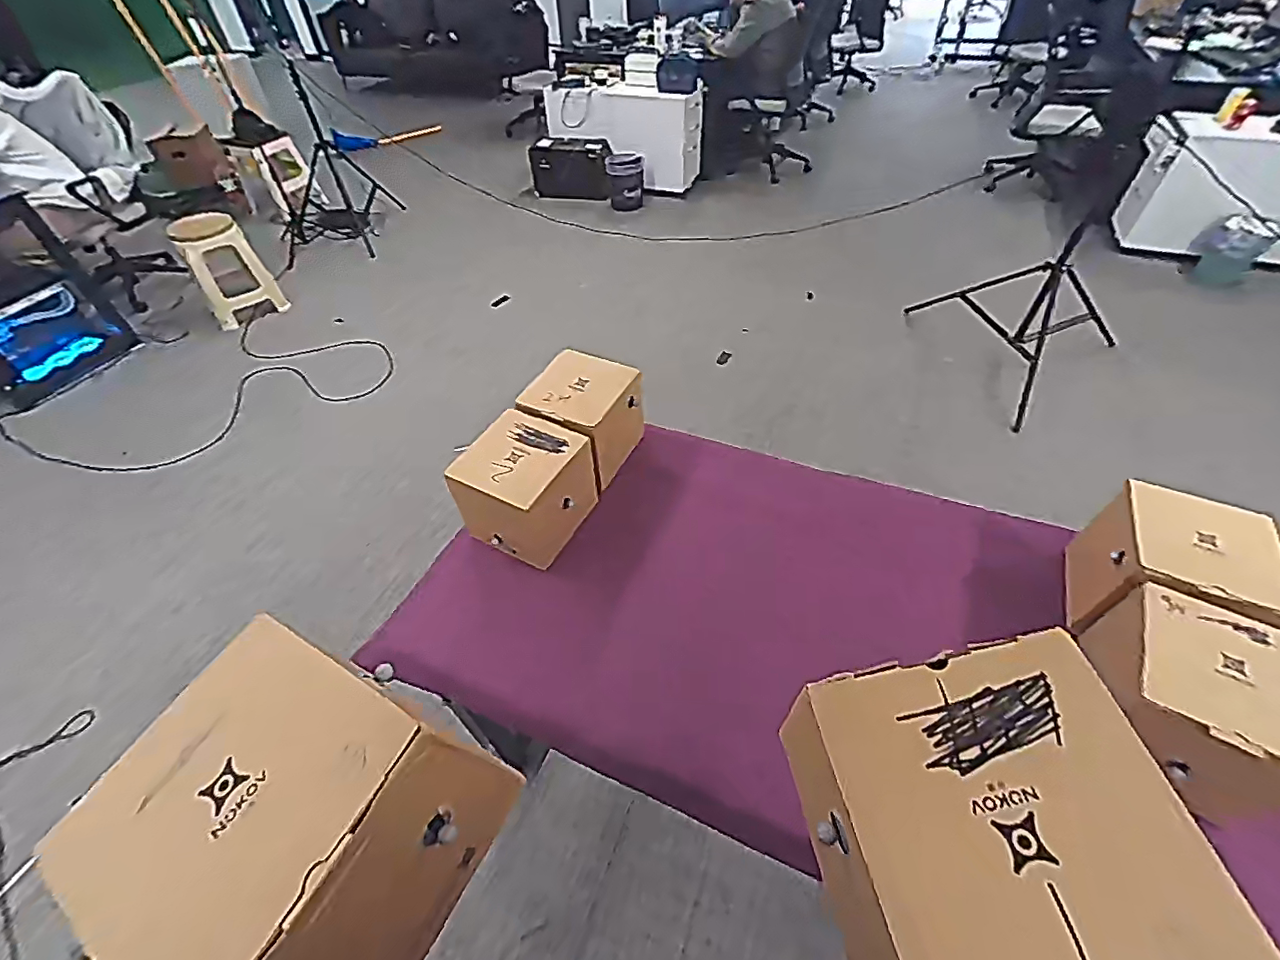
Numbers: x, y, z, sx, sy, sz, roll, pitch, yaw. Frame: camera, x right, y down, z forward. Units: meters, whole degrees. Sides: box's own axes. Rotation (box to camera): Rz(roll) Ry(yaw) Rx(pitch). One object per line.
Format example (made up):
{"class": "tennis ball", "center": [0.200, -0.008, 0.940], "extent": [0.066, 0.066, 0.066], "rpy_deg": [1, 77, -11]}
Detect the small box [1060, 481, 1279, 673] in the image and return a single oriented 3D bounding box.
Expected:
{"class": "small box", "center": [0.735, 0.138, 0.771], "extent": [0.168, 0.176, 0.179], "rpy_deg": [20, 51, 18]}

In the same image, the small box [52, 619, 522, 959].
{"class": "small box", "center": [-0.213, 0.230, 0.374], "extent": [0.179, 0.176, 0.168], "rpy_deg": [17, 57, 27]}

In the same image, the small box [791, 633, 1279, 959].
{"class": "small box", "center": [0.208, 0.224, 0.350], "extent": [0.168, 0.176, 0.179], "rpy_deg": [-13, 56, 0]}

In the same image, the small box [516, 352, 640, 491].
{"class": "small box", "center": [-0.109, -0.112, 1.032], "extent": [0.168, 0.176, 0.179], "rpy_deg": [20, 52, 19]}
